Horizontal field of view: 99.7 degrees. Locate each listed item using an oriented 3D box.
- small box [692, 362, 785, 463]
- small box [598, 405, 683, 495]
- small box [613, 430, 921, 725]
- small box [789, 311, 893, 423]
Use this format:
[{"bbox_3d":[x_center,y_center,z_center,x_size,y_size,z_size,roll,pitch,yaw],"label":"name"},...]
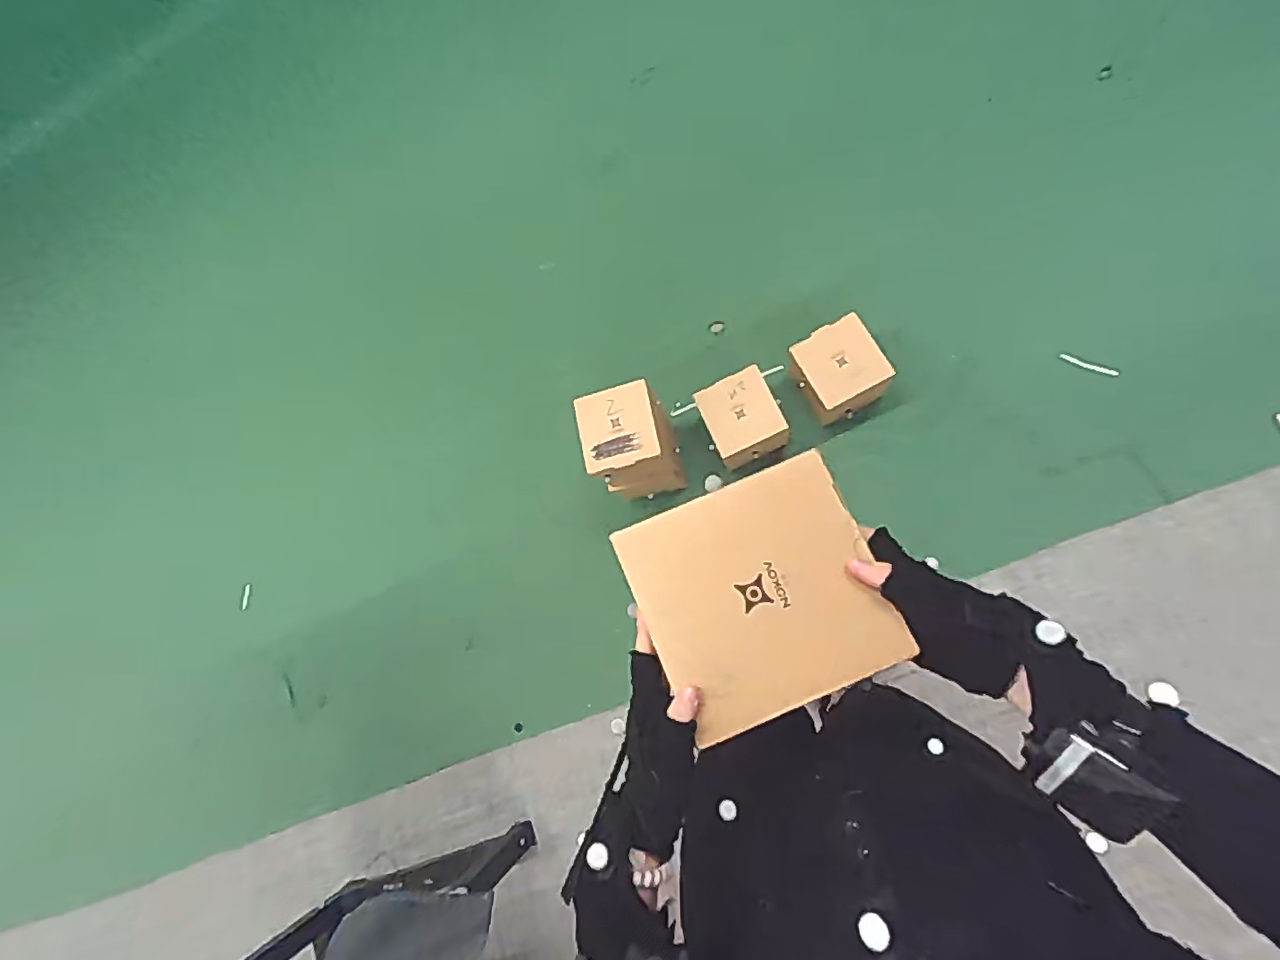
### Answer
[{"bbox_3d":[0.245,-0.153,1.323,0.168,0.176,0.179,-25,75,8],"label":"small box"},{"bbox_3d":[0.005,-0.070,1.367,0.168,0.176,0.179,-12,79,12],"label":"small box"},{"bbox_3d":[0.093,0.084,0.468,0.179,0.176,0.168,-23,77,-3],"label":"small box"},{"bbox_3d":[0.466,-0.261,1.288,0.168,0.176,0.179,-28,75,8],"label":"small box"}]
